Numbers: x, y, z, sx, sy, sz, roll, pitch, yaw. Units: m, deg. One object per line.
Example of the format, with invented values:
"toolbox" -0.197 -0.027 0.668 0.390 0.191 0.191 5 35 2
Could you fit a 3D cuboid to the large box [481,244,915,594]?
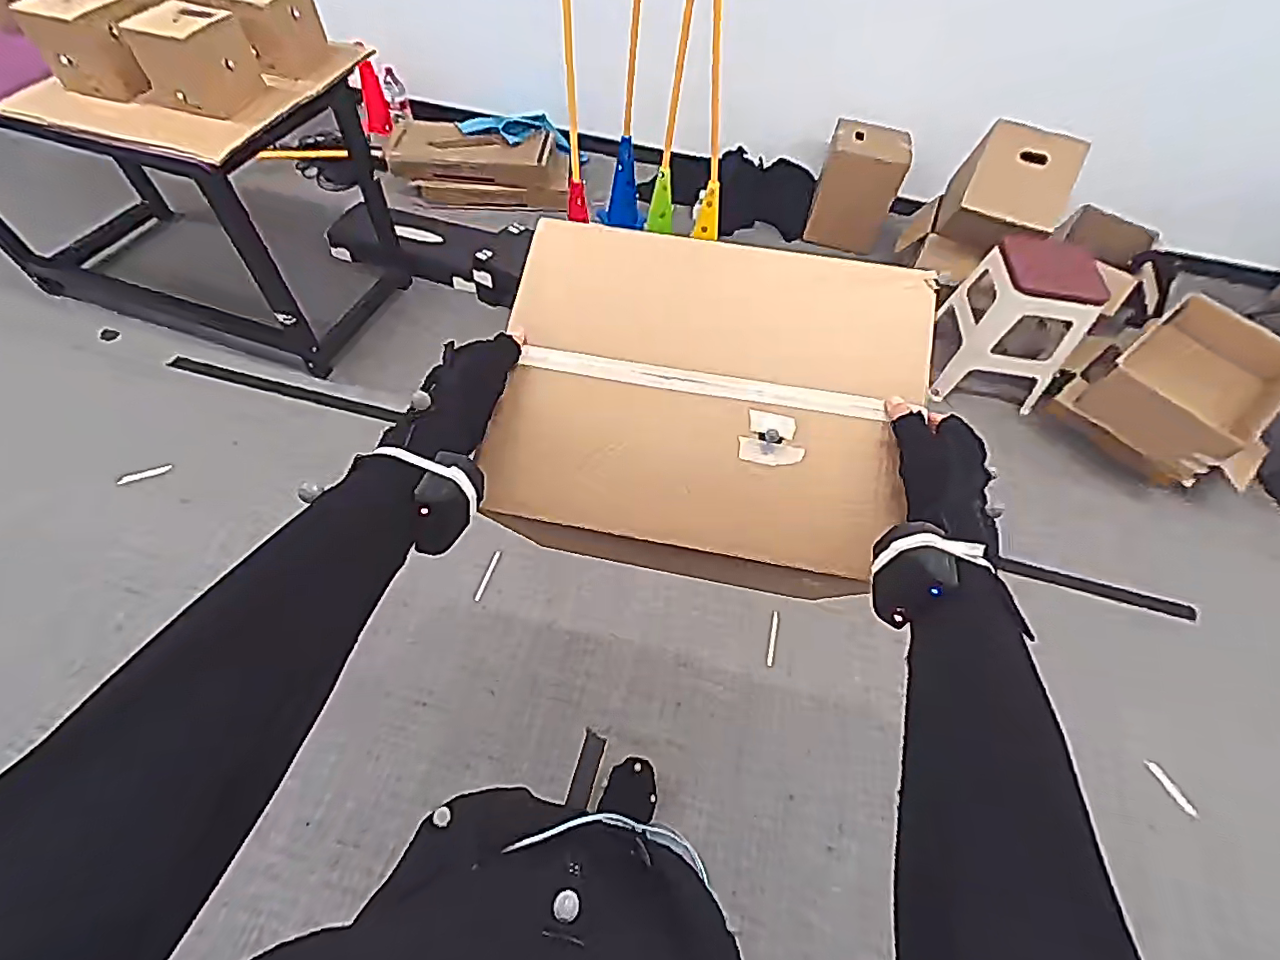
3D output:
"large box" 0.068 -0.046 0.683 0.408 0.320 0.320 10 78 4
